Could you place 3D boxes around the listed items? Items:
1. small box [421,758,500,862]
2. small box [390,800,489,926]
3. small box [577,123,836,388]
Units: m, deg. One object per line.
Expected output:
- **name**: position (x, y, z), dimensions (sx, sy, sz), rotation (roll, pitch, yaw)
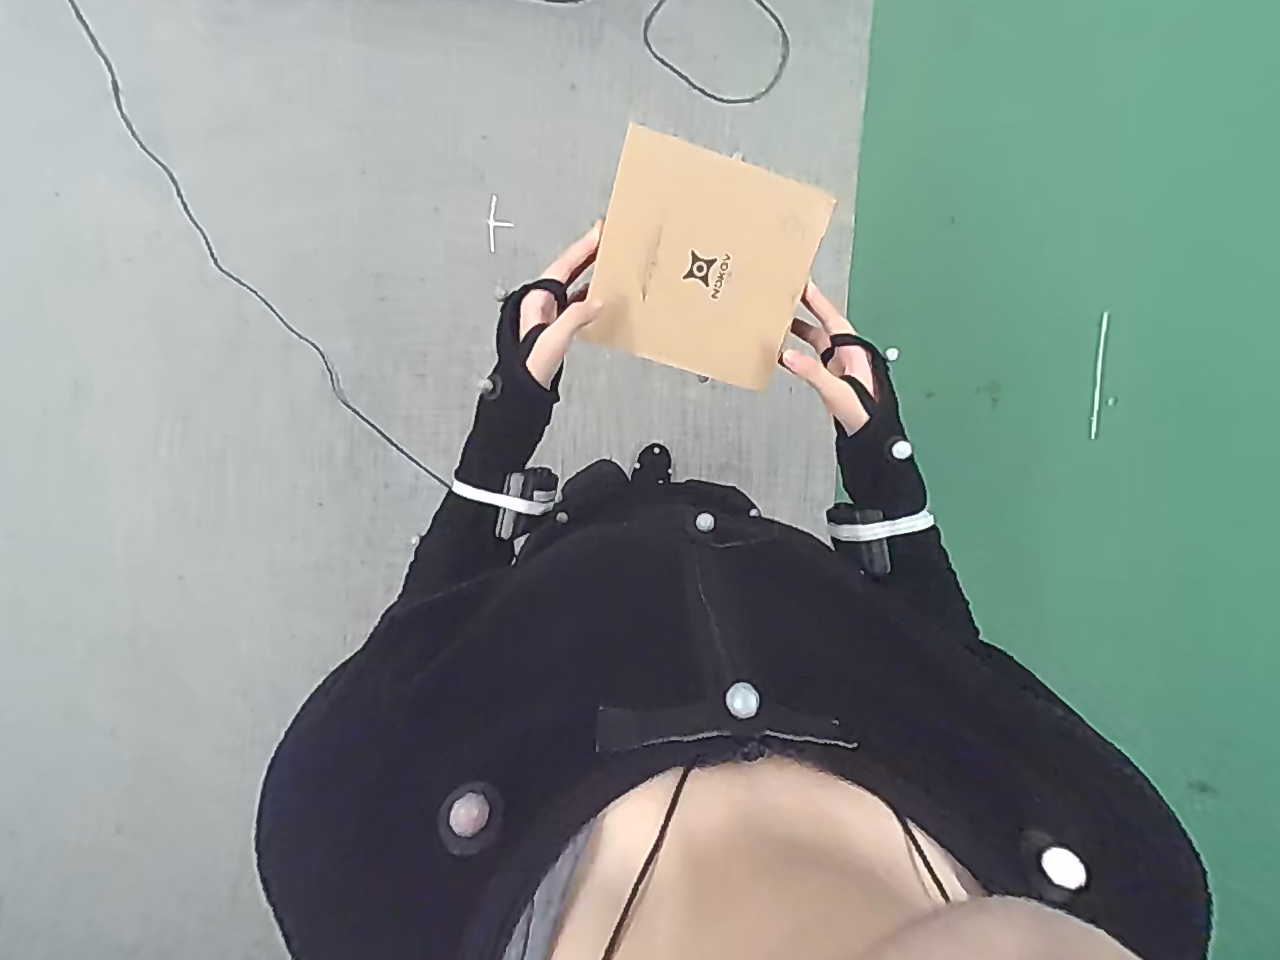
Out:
- **small box**: position (-0.472, 0.871, 1.433), dimensions (0.168, 0.176, 0.179), rotation (4, 92, -4)
- **small box**: position (-0.460, 0.889, 1.270), dimensions (0.168, 0.176, 0.179), rotation (10, 91, -4)
- **small box**: position (0.047, -0.203, 0.516), dimensions (0.179, 0.176, 0.168), rotation (14, 109, -8)
